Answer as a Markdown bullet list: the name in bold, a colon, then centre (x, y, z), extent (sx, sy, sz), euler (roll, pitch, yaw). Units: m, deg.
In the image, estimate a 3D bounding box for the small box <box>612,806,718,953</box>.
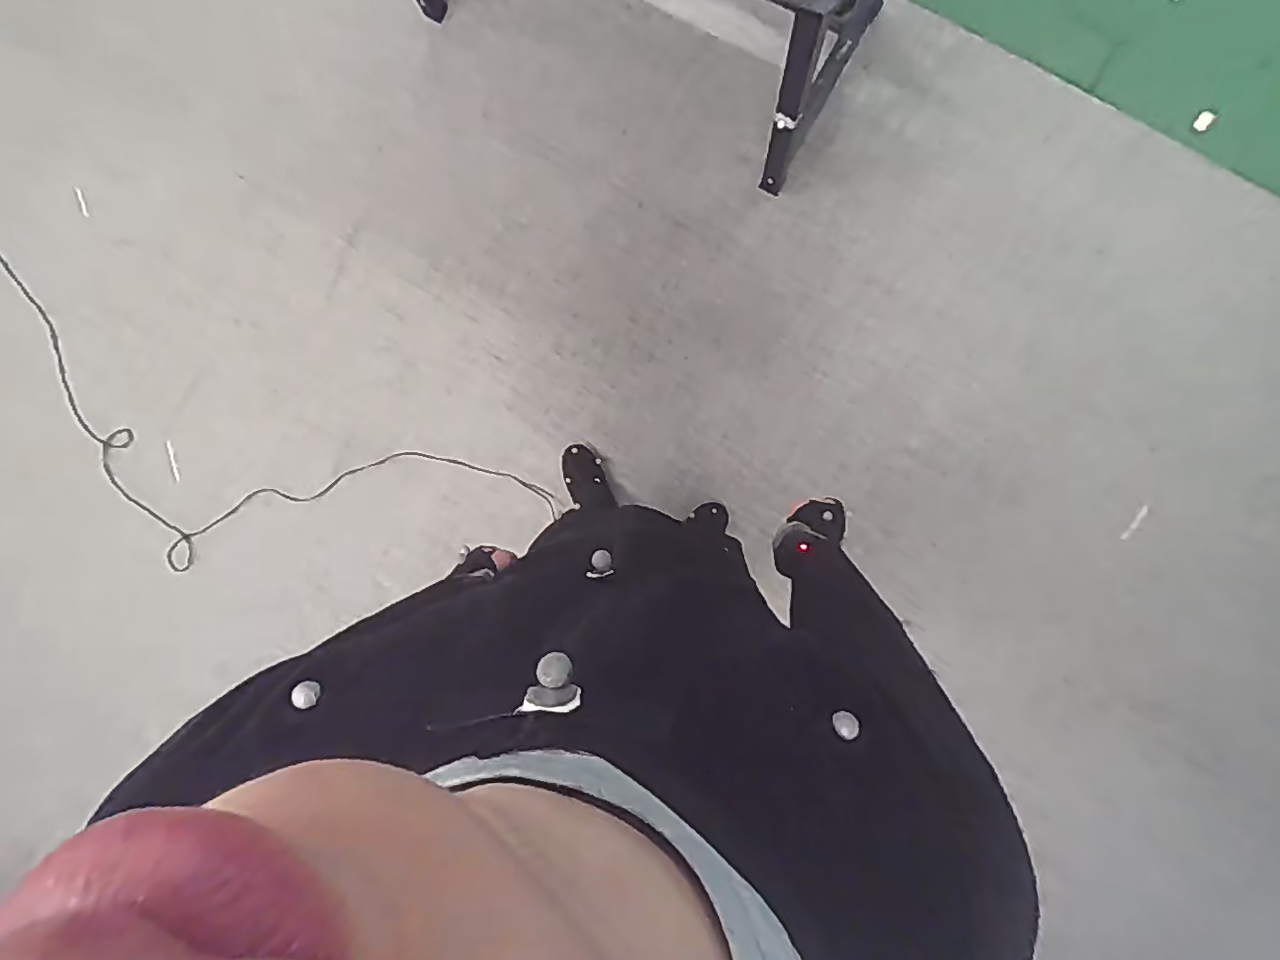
- **small box**: centre (0.059, 0.860, 1.185), extent (0.179, 0.176, 0.168), euler (22, 97, 4)
